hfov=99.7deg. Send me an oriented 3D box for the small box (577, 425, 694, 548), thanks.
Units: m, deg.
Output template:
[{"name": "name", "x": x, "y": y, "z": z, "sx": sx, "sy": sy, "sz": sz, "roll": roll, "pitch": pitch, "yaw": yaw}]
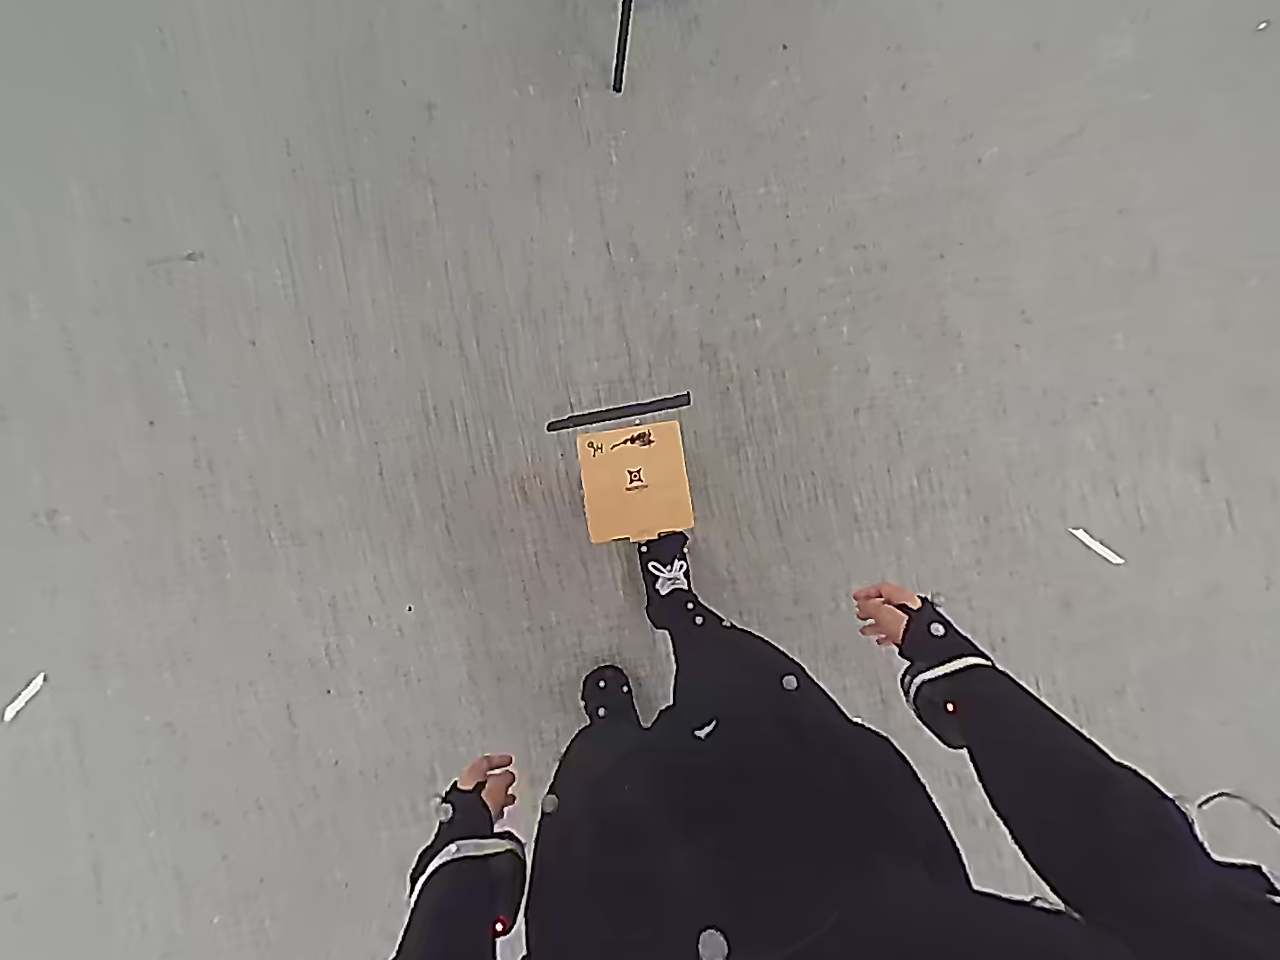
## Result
[{"name": "small box", "x": -0.008, "y": 0.010, "z": 0.918, "sx": 0.168, "sy": 0.176, "sz": 0.179, "roll": -8, "pitch": 89, "yaw": -2}]
